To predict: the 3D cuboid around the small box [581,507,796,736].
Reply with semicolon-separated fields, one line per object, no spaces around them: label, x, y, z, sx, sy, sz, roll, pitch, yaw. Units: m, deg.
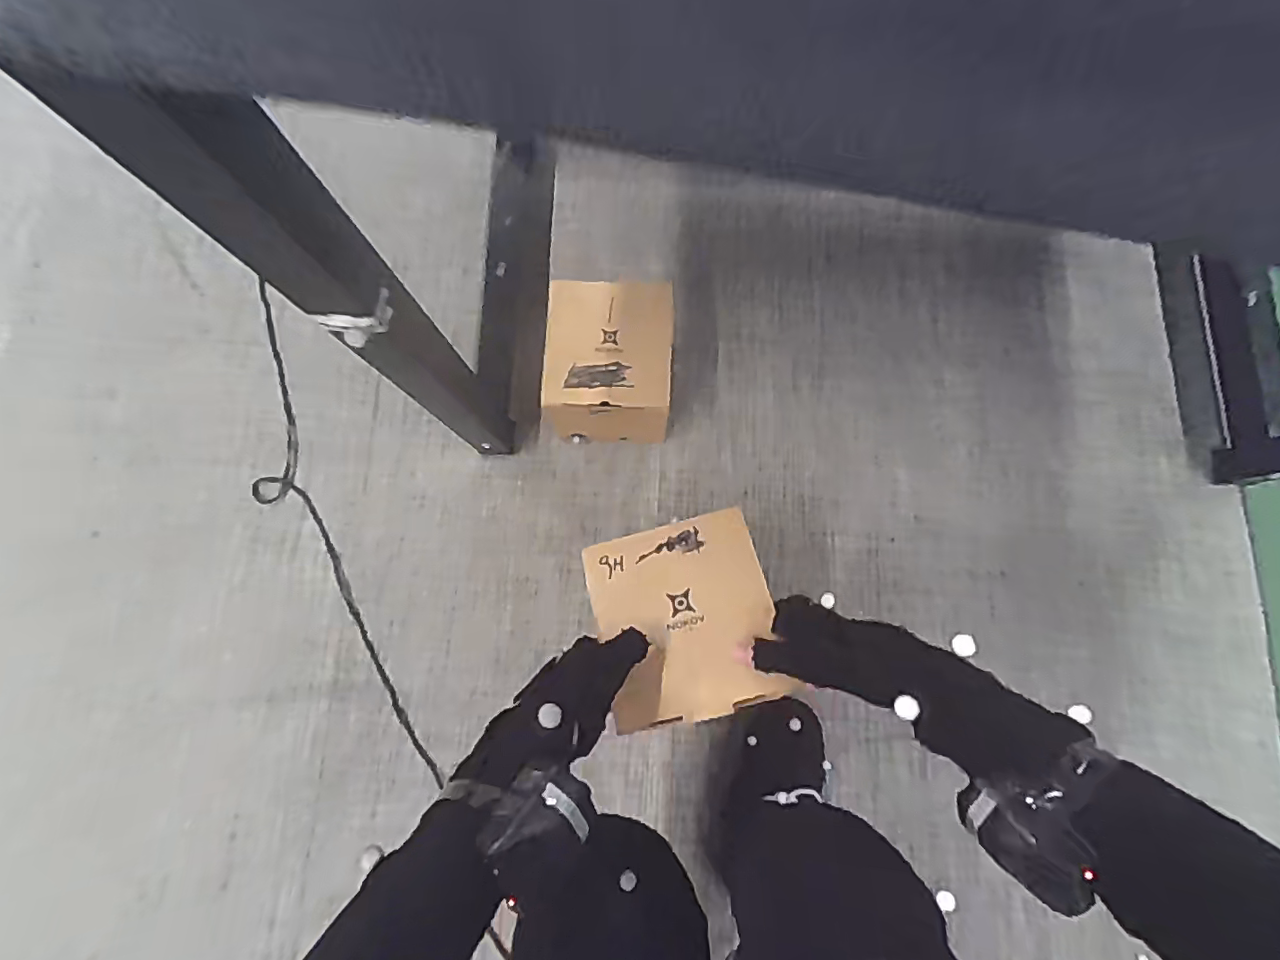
small box;0.051;0.153;0.571;0.168;0.176;0.179;-16;66;2
